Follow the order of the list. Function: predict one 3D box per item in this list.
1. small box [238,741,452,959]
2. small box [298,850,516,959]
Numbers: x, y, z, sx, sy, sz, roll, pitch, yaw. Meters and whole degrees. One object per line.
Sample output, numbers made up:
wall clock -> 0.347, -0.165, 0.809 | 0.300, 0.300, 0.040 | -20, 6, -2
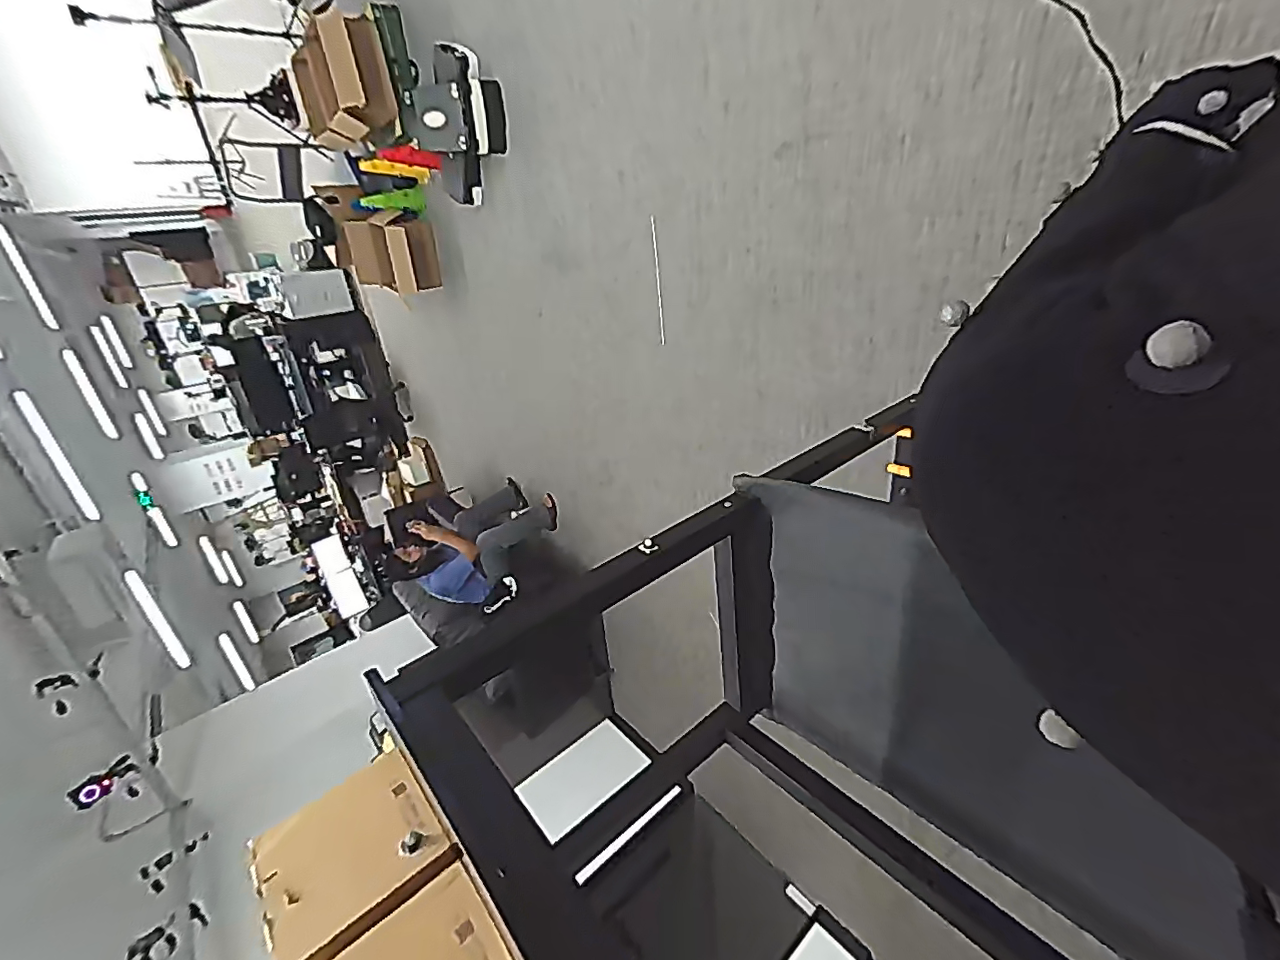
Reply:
small box -> -0.312, 0.443, 0.613 | 0.168, 0.176, 0.179 | 26, 130, 43
small box -> -0.192, 0.495, 0.486 | 0.168, 0.176, 0.179 | 27, 130, 43
